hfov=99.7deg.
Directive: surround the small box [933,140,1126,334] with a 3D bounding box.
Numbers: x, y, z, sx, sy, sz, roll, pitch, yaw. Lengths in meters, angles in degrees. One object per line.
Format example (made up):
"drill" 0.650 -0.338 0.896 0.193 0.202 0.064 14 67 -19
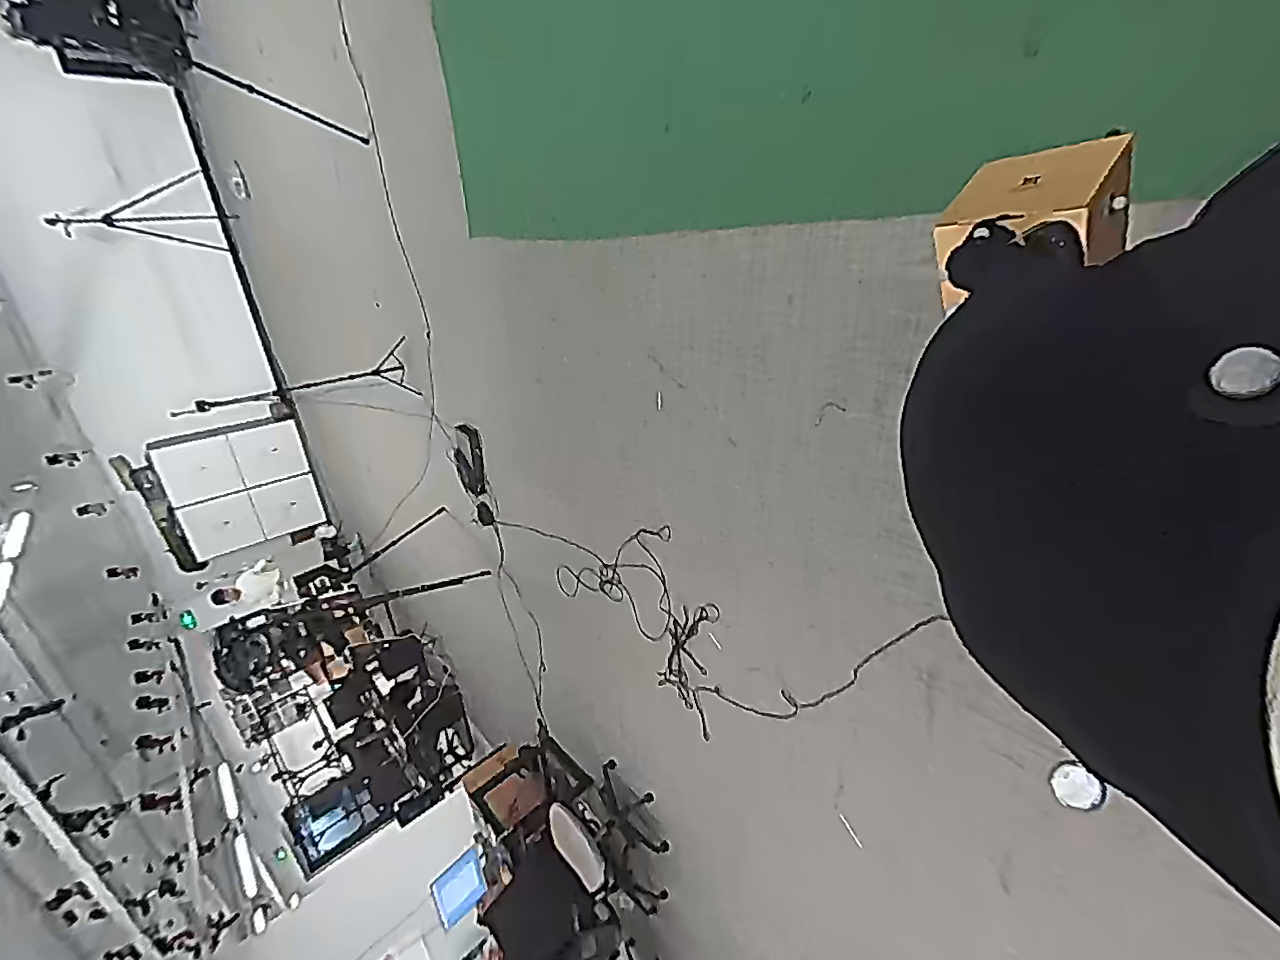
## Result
"small box" 0.531 -0.323 0.744 0.168 0.179 0.176 17 148 47
